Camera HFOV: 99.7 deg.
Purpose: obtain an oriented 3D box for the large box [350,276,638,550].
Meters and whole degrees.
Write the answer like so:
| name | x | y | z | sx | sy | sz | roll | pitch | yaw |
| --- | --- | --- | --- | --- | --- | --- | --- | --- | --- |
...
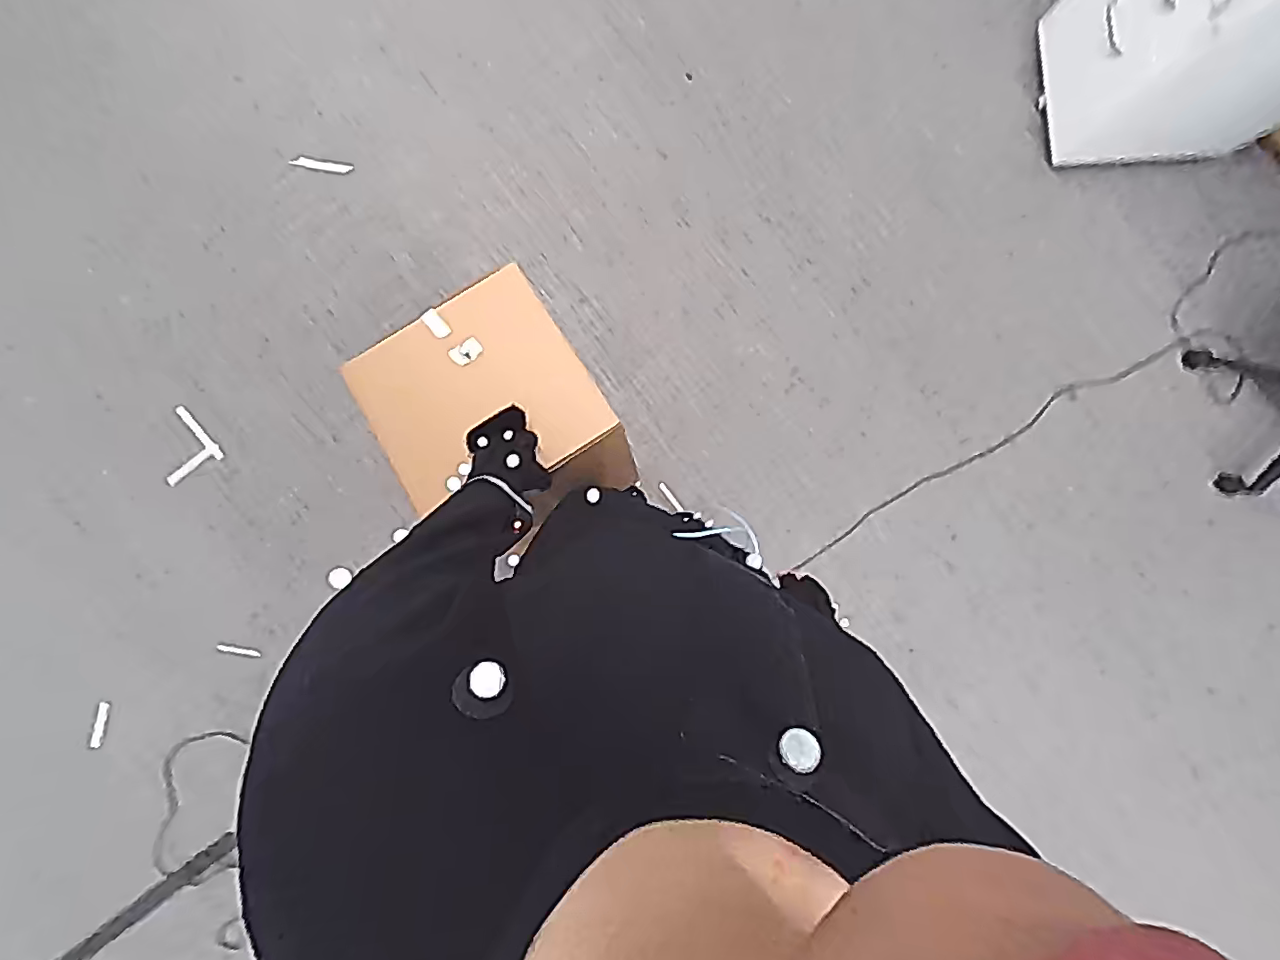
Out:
| name | x | y | z | sx | sy | sz | roll | pitch | yaw |
| --- | --- | --- | --- | --- | --- | --- | --- | --- | --- |
| large box | -0.227 | -0.087 | 0.991 | 0.320 | 0.408 | 0.320 | -33 | 80 | -2 |
